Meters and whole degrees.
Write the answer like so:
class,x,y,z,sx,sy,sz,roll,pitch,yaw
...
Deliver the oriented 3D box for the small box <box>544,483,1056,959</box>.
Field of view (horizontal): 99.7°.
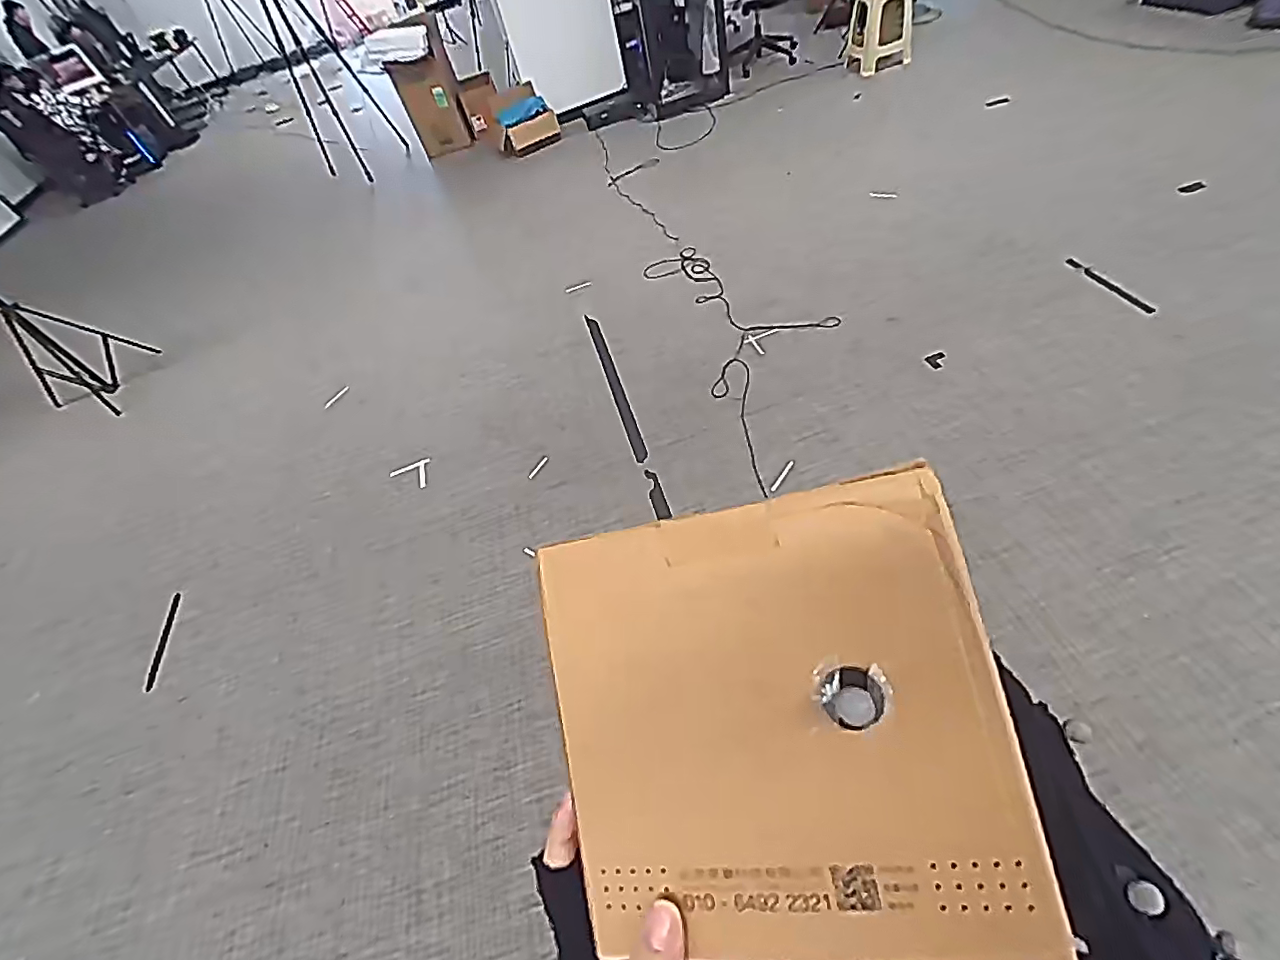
class,x,y,z,sx,sy,sz,roll,pitch,yaw
small box,0.075,0.107,0.283,0.168,0.179,0.176,-14,81,17
